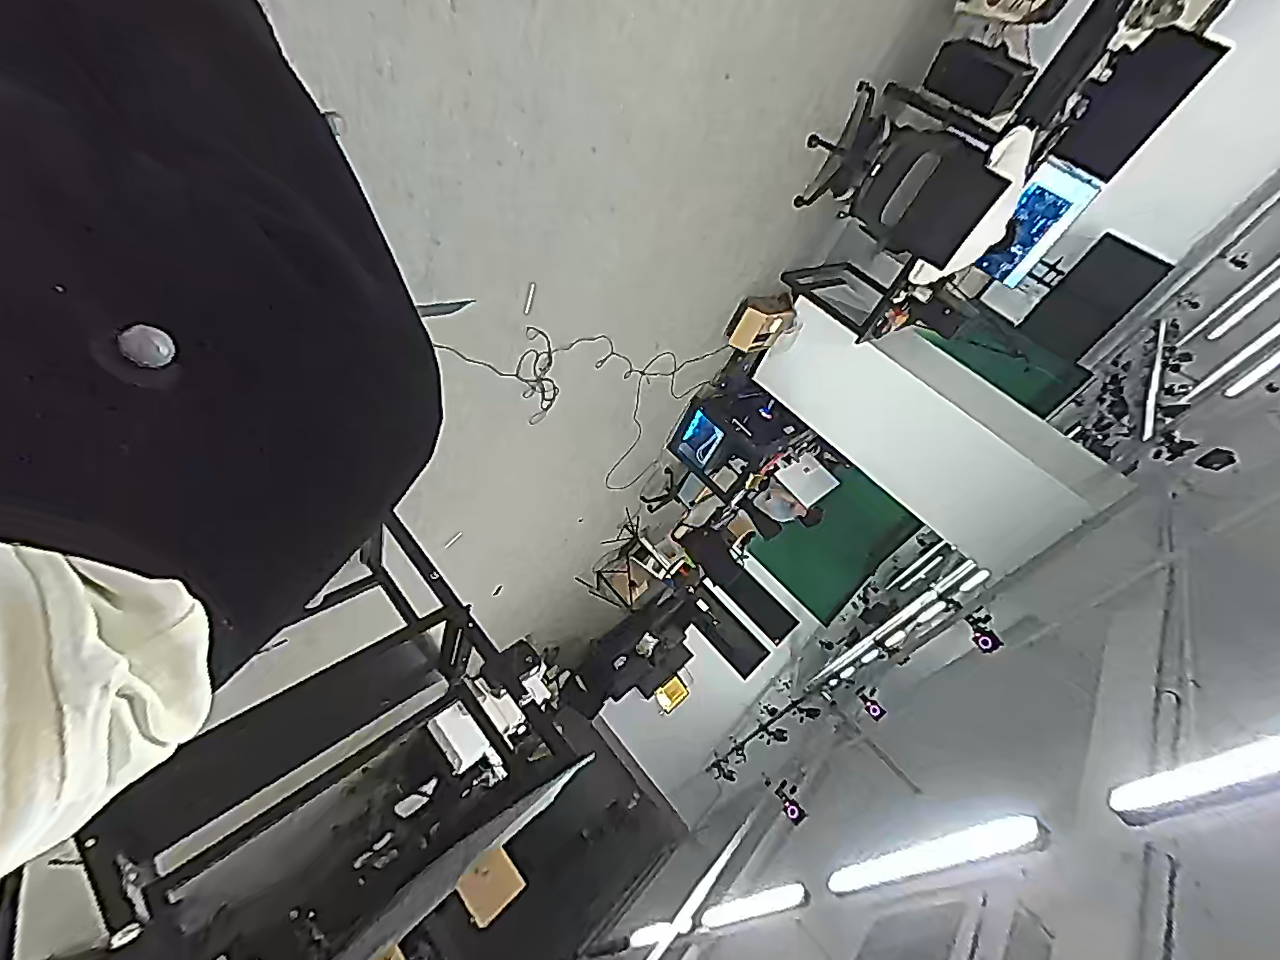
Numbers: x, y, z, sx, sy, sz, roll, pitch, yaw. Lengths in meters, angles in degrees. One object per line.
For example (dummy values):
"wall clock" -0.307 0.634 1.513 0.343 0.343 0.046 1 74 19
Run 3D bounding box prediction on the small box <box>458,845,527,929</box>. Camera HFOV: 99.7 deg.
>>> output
"small box" -0.528 1.439 1.918 0.168 0.176 0.179 -28 154 -40
